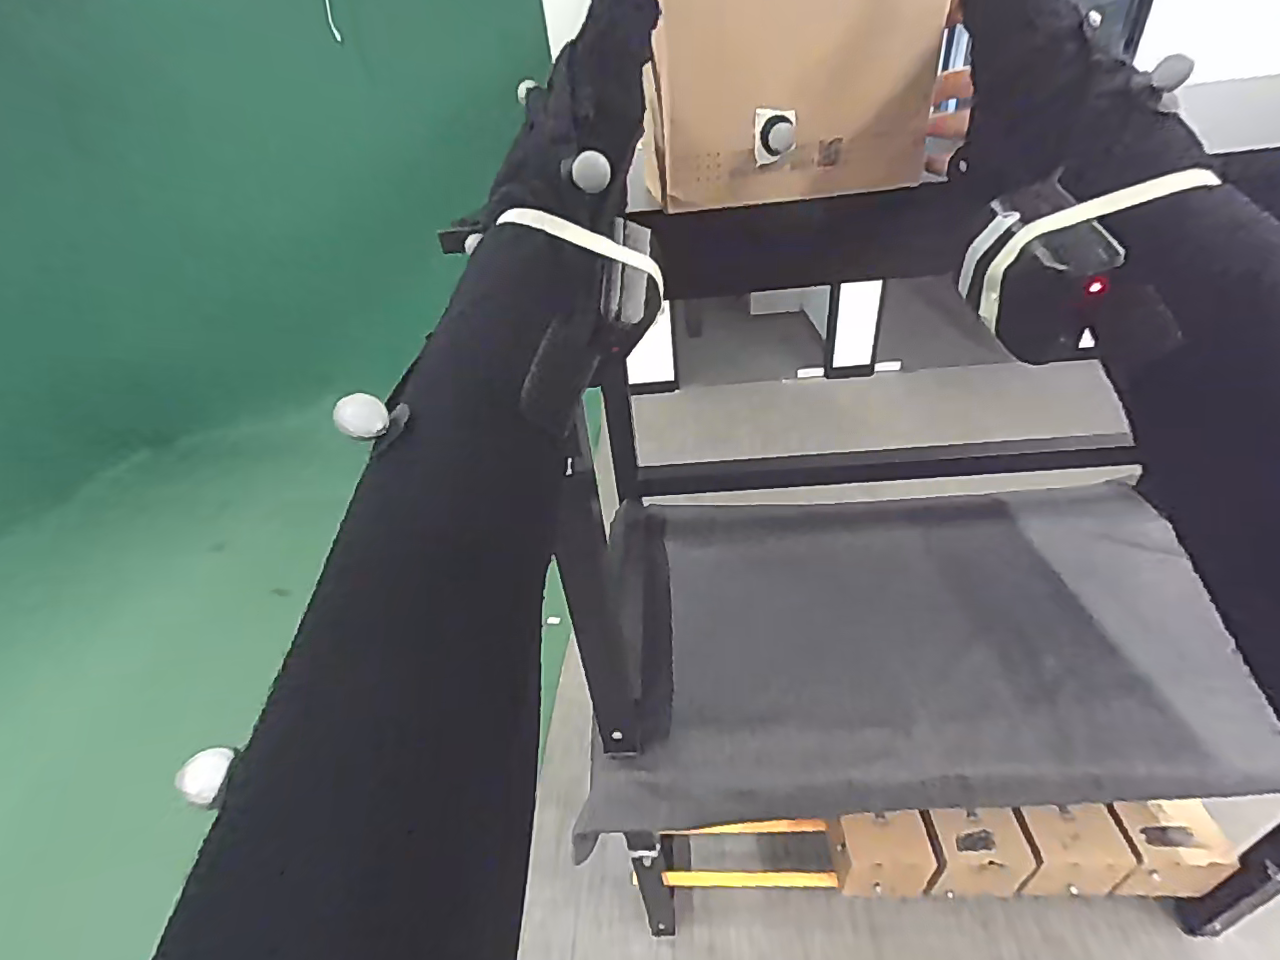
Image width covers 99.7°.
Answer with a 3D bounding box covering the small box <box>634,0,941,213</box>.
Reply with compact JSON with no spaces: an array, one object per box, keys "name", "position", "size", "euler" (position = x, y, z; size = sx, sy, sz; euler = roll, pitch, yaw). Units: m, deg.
[{"name":"small box","position":[0.084,-0.294,0.377],"size":[0.168,0.176,0.179],"euler":[-8,34,0]}]
